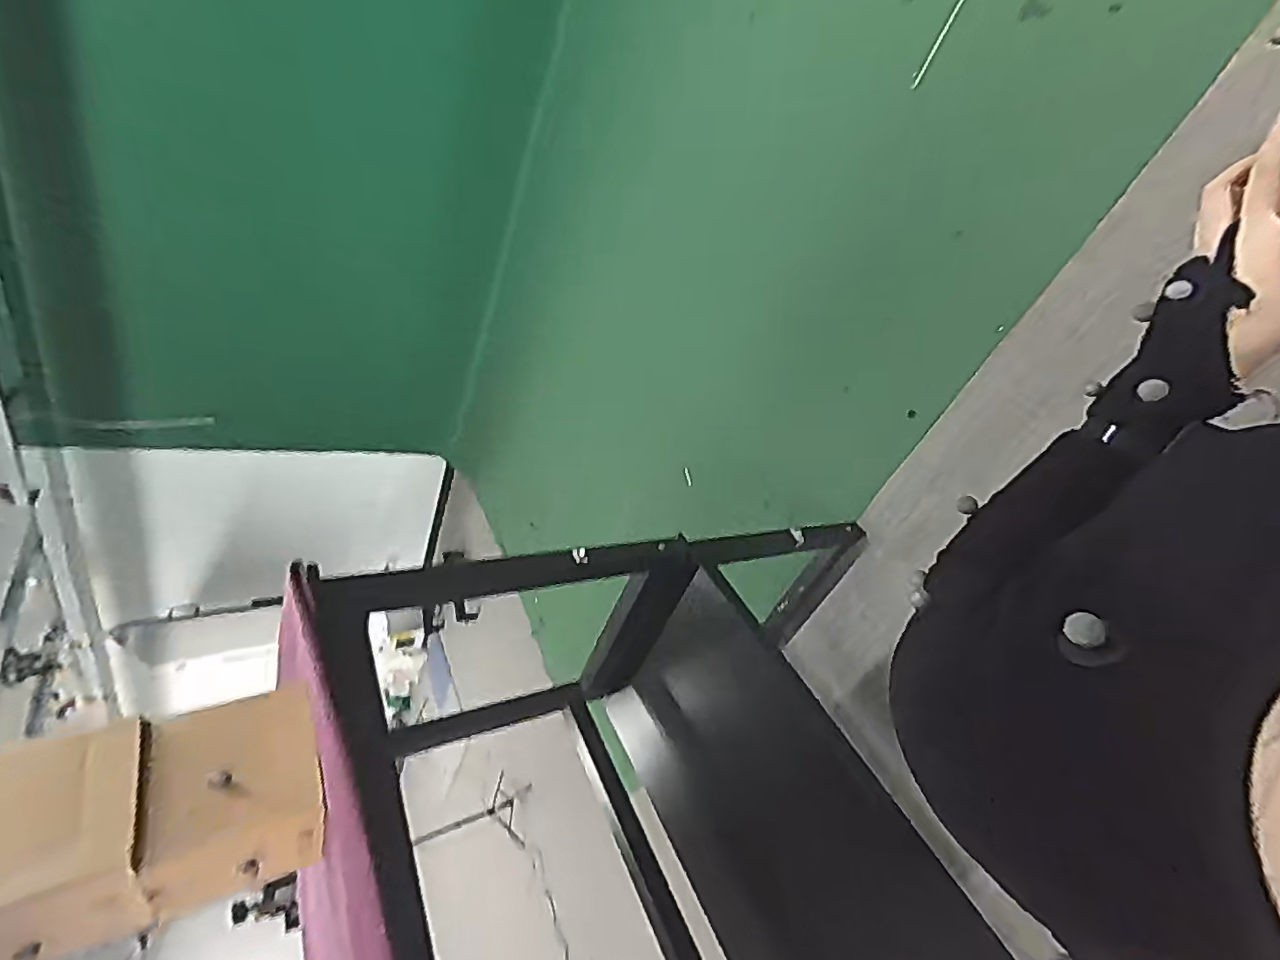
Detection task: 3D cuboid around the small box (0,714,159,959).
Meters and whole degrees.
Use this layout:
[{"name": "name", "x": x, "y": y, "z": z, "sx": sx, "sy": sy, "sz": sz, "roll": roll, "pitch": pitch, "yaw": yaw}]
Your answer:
[{"name": "small box", "x": -0.624, "y": 0.389, "z": 0.579, "sx": 0.179, "sy": 0.176, "sz": 0.168, "roll": 53, "pitch": 133, "yaw": 37}]

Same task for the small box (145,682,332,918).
[{"name": "small box", "x": -0.498, "y": 0.390, "z": 0.683, "sx": 0.179, "sy": 0.176, "sz": 0.168, "roll": 53, "pitch": 132, "yaw": 36}]
